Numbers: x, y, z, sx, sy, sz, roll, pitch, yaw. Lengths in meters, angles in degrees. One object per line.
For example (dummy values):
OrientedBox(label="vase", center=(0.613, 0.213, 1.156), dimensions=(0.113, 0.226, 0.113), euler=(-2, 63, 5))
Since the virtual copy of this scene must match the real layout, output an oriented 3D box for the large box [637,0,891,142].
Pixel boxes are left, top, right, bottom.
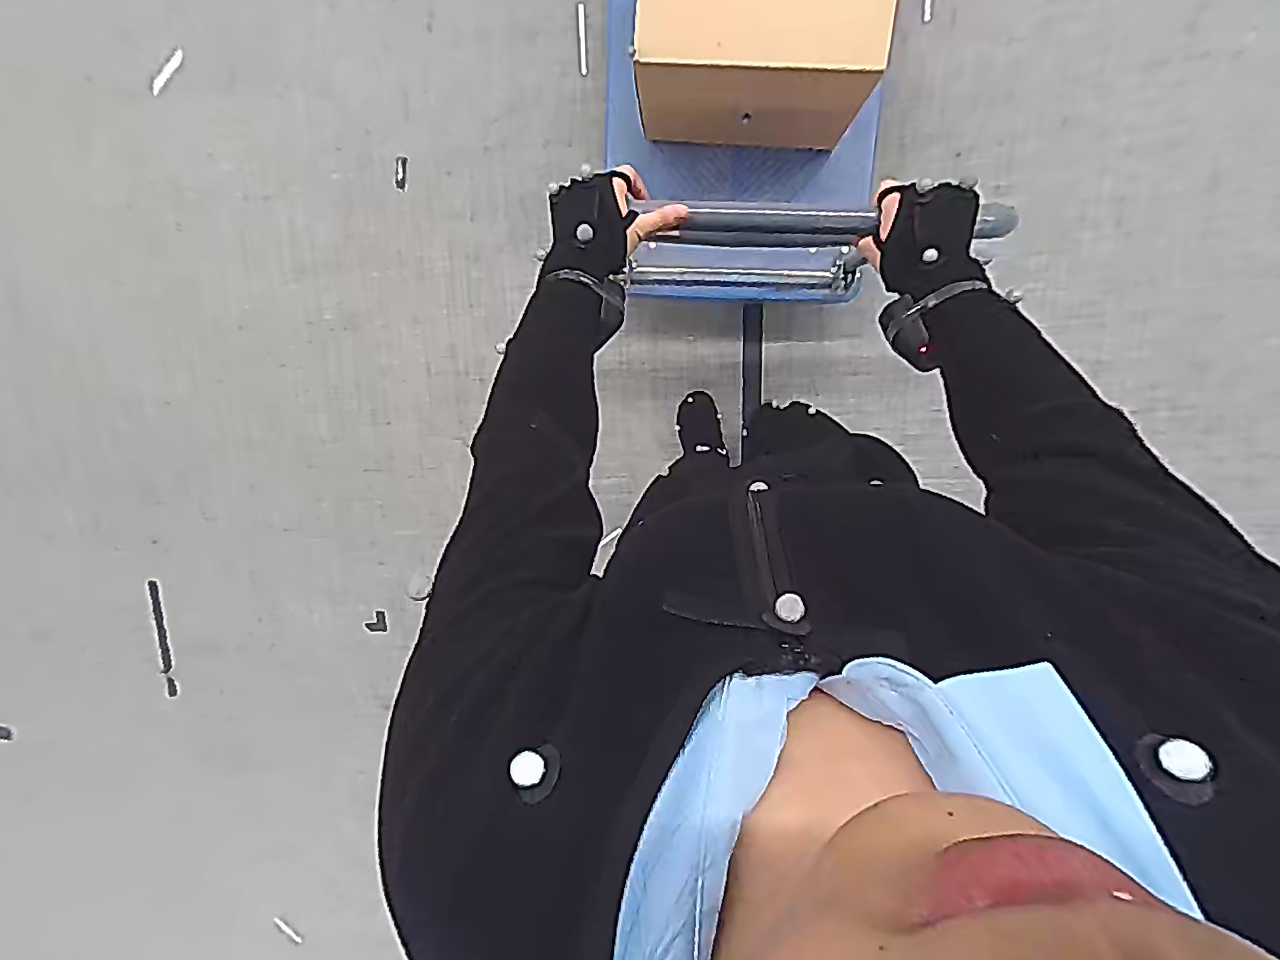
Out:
OrientedBox(label="large box", center=(0.215, -0.849, 0.992), dimensions=(0.408, 0.320, 0.320), euler=(5, 101, 4))
